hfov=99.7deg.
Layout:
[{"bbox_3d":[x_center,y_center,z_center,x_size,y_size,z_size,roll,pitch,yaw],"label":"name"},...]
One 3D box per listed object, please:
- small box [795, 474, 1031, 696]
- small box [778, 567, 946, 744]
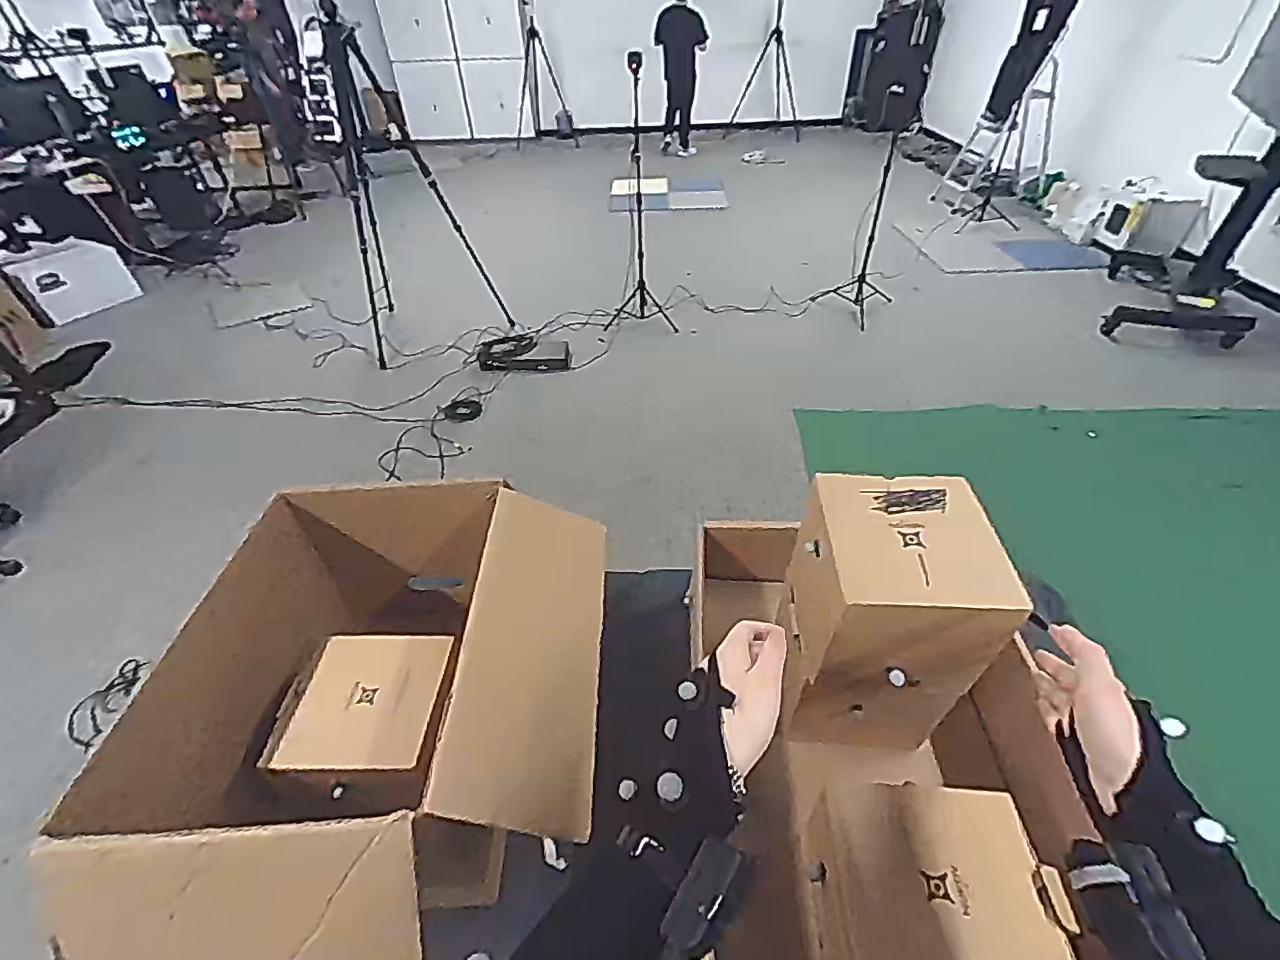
[{"bbox_3d":[0.275,0.114,0.600,0.168,0.176,0.179,1,44,5],"label":"small box"},{"bbox_3d":[0.281,0.232,0.715,0.179,0.176,0.168,1,44,6],"label":"small box"}]
